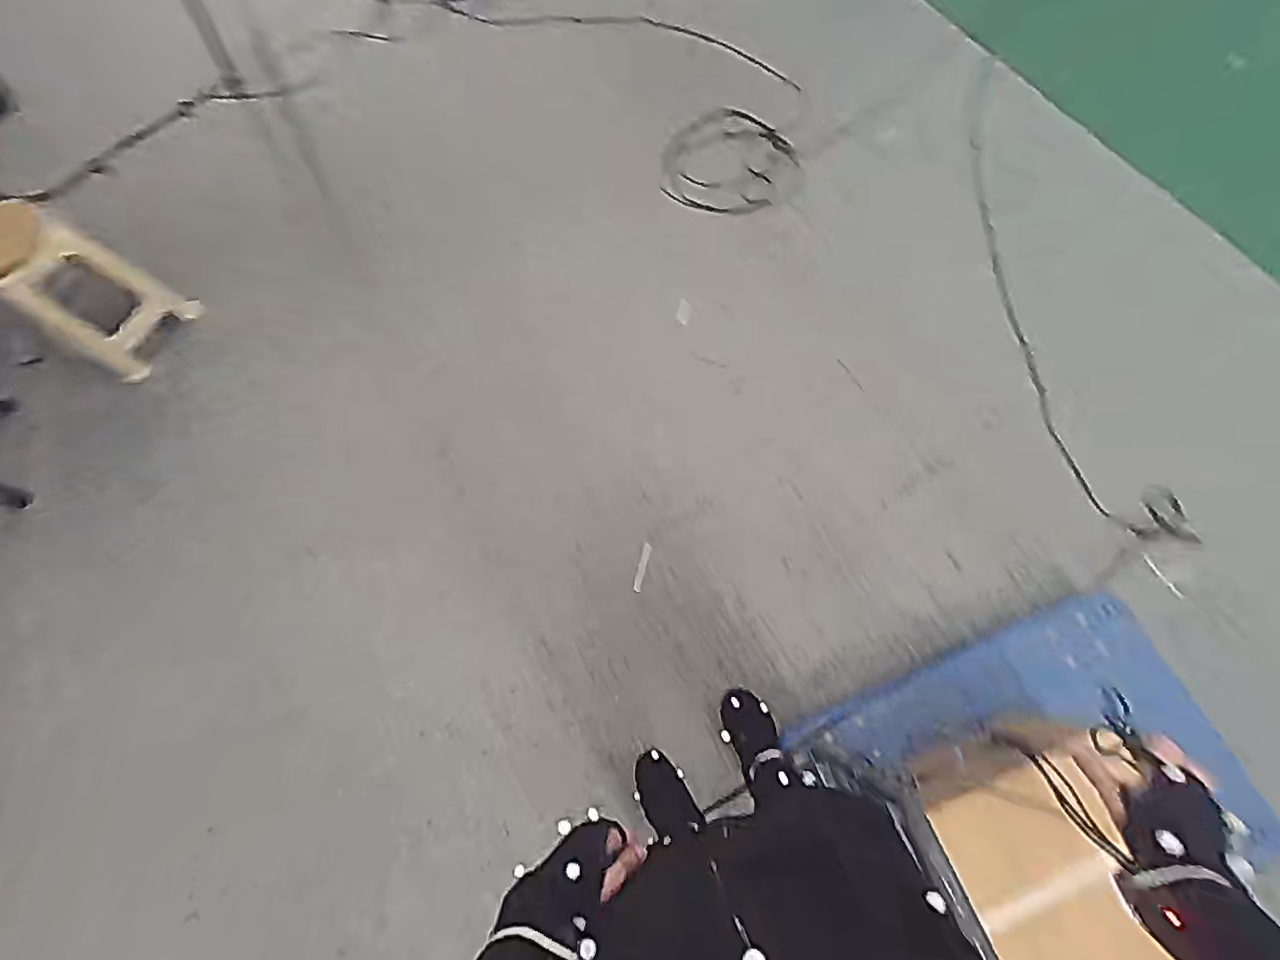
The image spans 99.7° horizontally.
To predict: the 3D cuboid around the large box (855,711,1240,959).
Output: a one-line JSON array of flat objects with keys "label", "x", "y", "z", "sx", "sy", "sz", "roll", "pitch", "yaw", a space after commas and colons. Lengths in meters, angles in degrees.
[{"label": "large box", "x": 0.691, "y": 0.667, "z": 1.000, "sx": 0.408, "sy": 0.320, "sz": 0.320, "roll": -23, "pitch": 71, "yaw": -5}]
